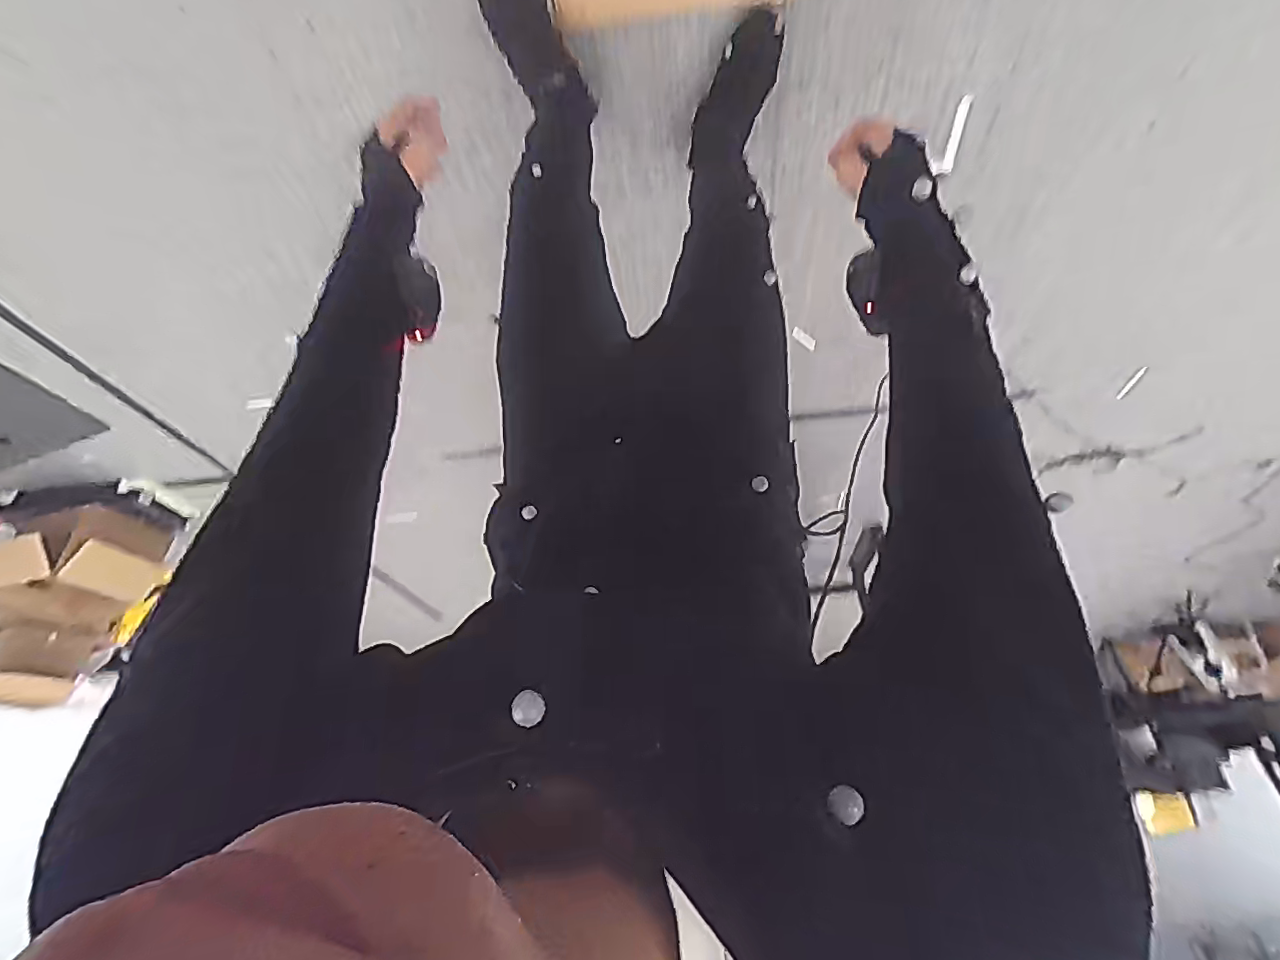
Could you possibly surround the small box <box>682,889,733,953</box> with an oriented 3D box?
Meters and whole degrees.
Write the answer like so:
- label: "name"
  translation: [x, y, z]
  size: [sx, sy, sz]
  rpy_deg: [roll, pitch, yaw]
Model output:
- label: "small box"
  translation: [0.254, 1.690, 2.078]
  size: [0.168, 0.176, 0.179]
  rpy_deg: [-3, 147, -2]
